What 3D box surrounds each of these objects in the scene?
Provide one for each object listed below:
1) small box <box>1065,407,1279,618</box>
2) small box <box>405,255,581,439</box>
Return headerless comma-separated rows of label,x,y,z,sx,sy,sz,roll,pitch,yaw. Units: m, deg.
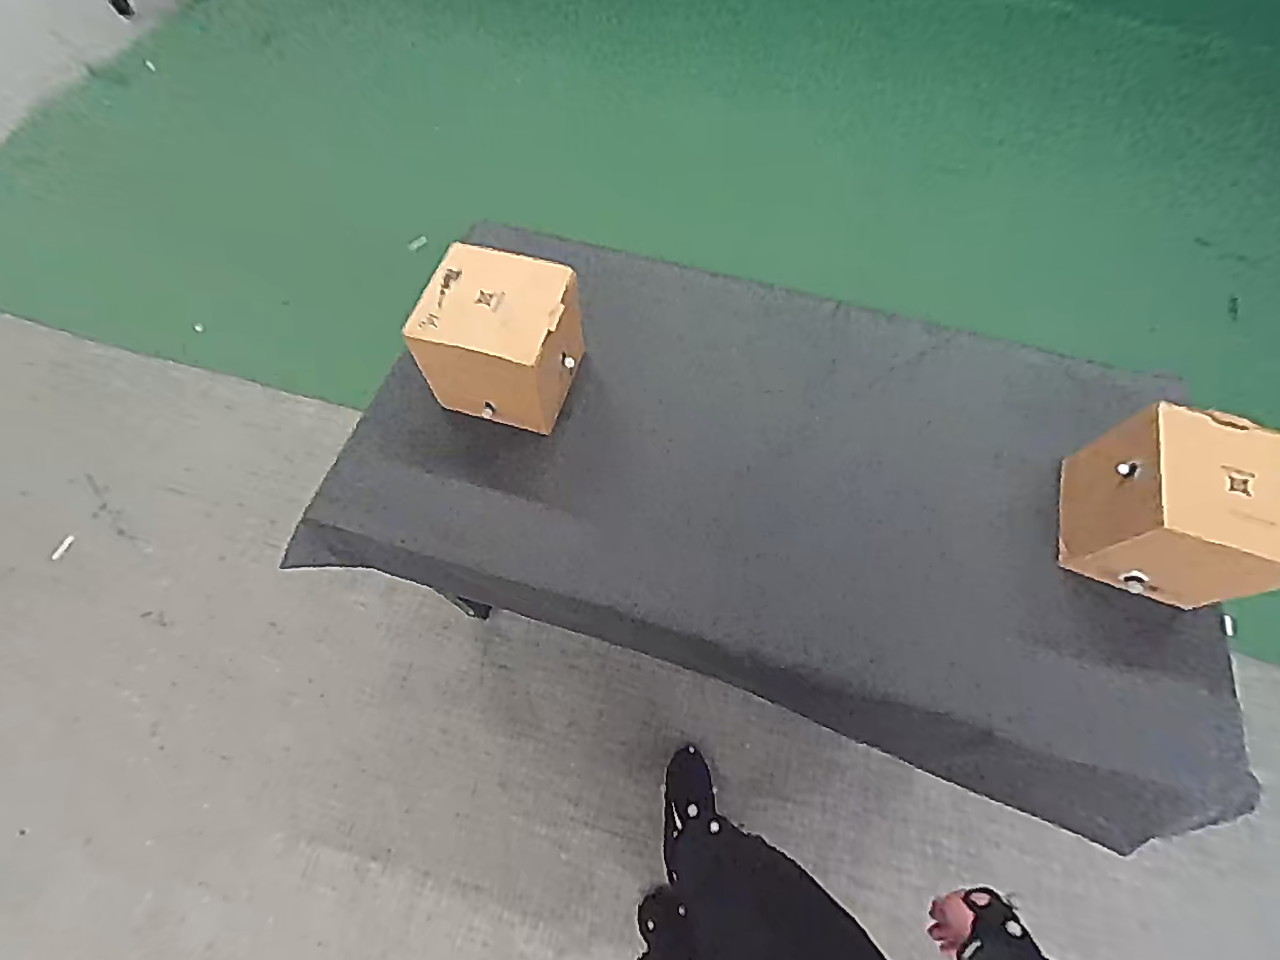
small box,0.665,0.046,0.662,0.168,0.176,0.179,20,66,10
small box,-0.189,-0.178,0.765,0.179,0.176,0.168,15,65,5
